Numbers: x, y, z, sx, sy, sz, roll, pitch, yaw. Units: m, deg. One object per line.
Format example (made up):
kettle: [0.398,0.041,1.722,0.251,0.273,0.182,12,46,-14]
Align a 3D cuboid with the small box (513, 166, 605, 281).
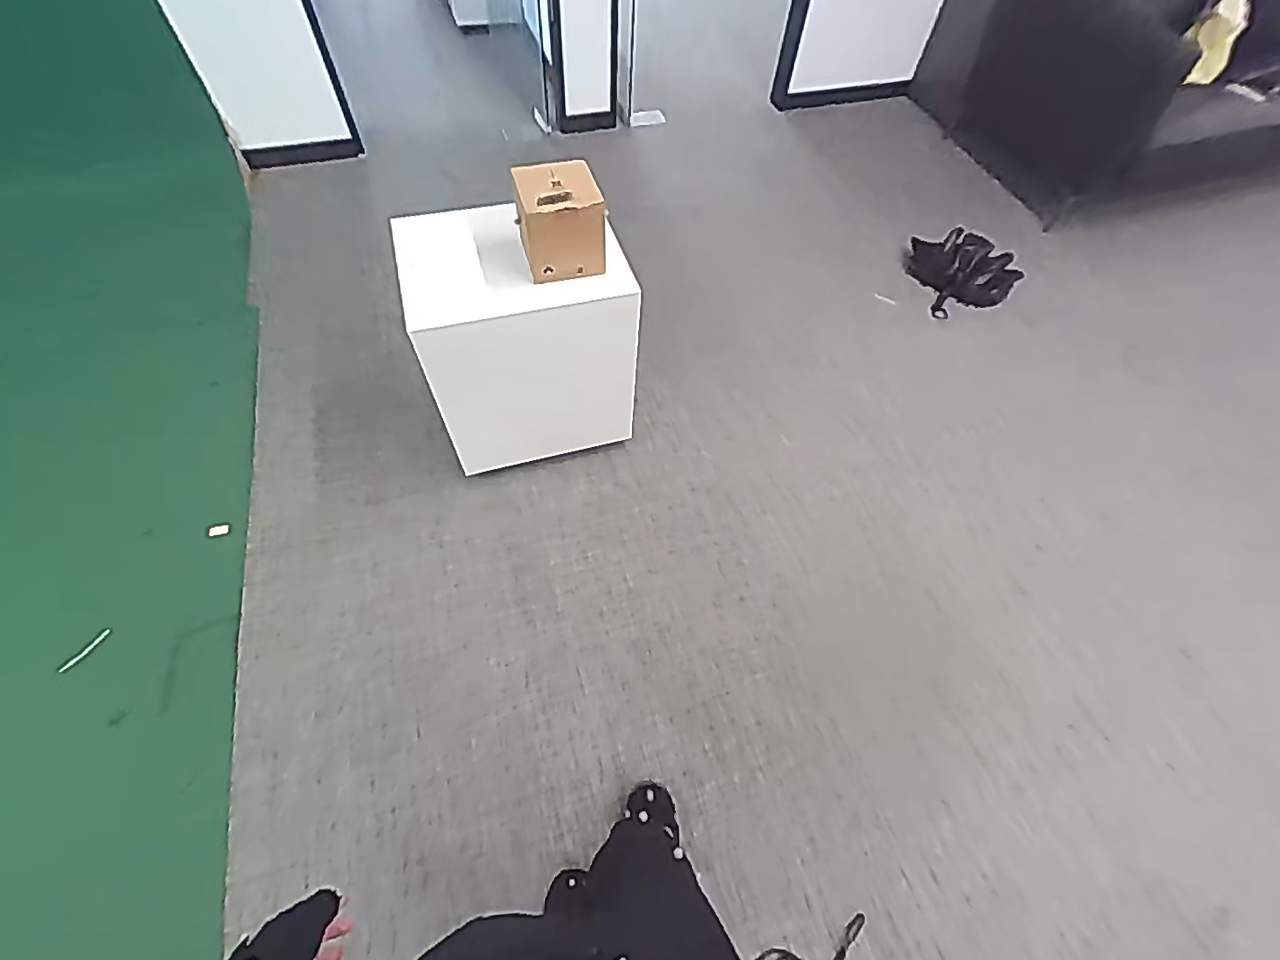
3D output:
small box: [-0.177,-0.562,1.204,0.168,0.176,0.179,-13,59,-11]
